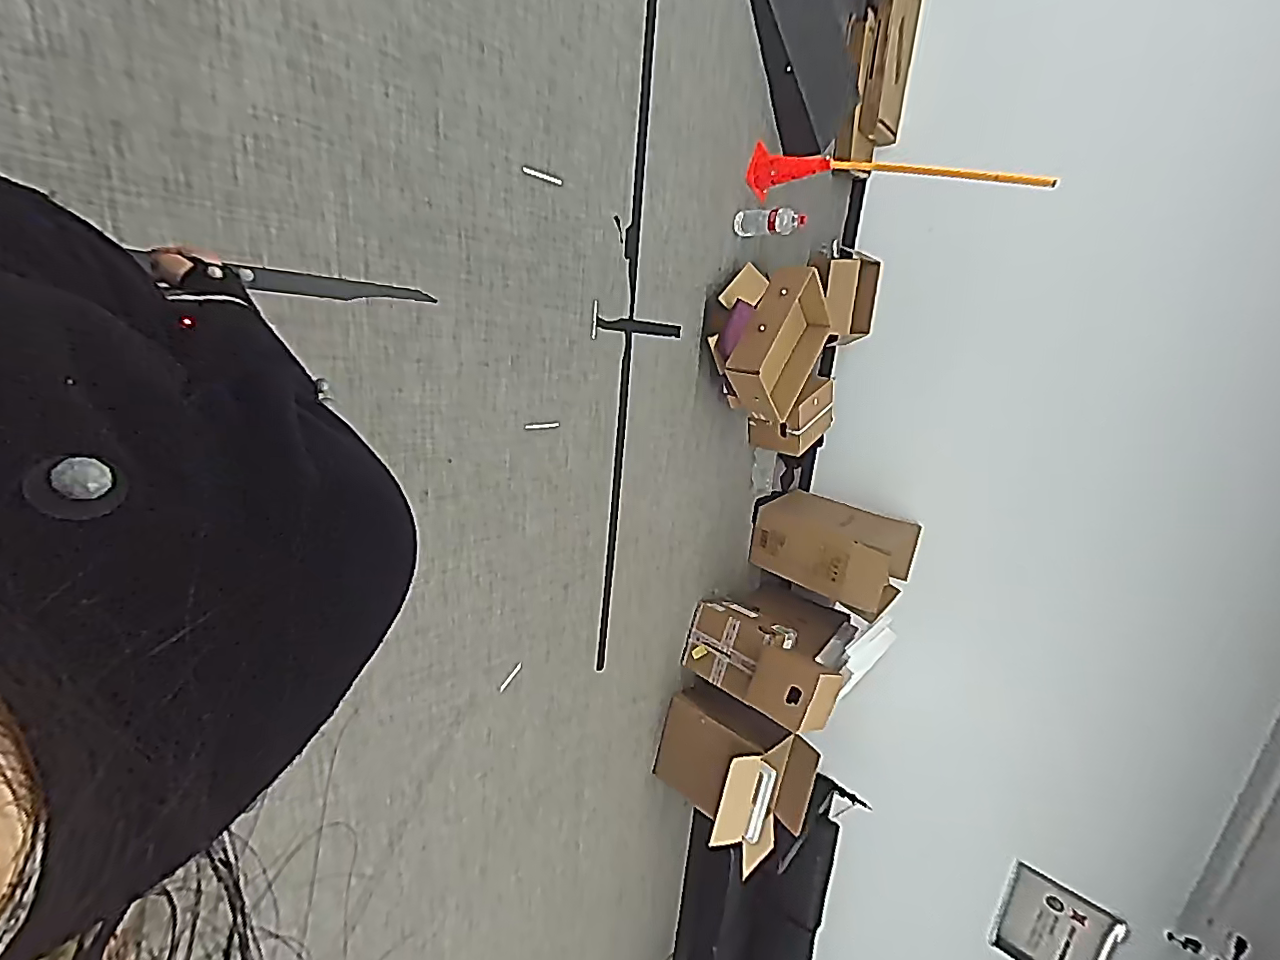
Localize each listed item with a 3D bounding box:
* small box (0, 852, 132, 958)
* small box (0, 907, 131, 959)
[{"bbox_3d":[-1.245,0.948,1.157,0.168,0.176,0.179,-30,125,-41],"label":"small box"},{"bbox_3d":[-1.125,0.995,1.054,0.168,0.176,0.179,-30,126,-43],"label":"small box"}]
